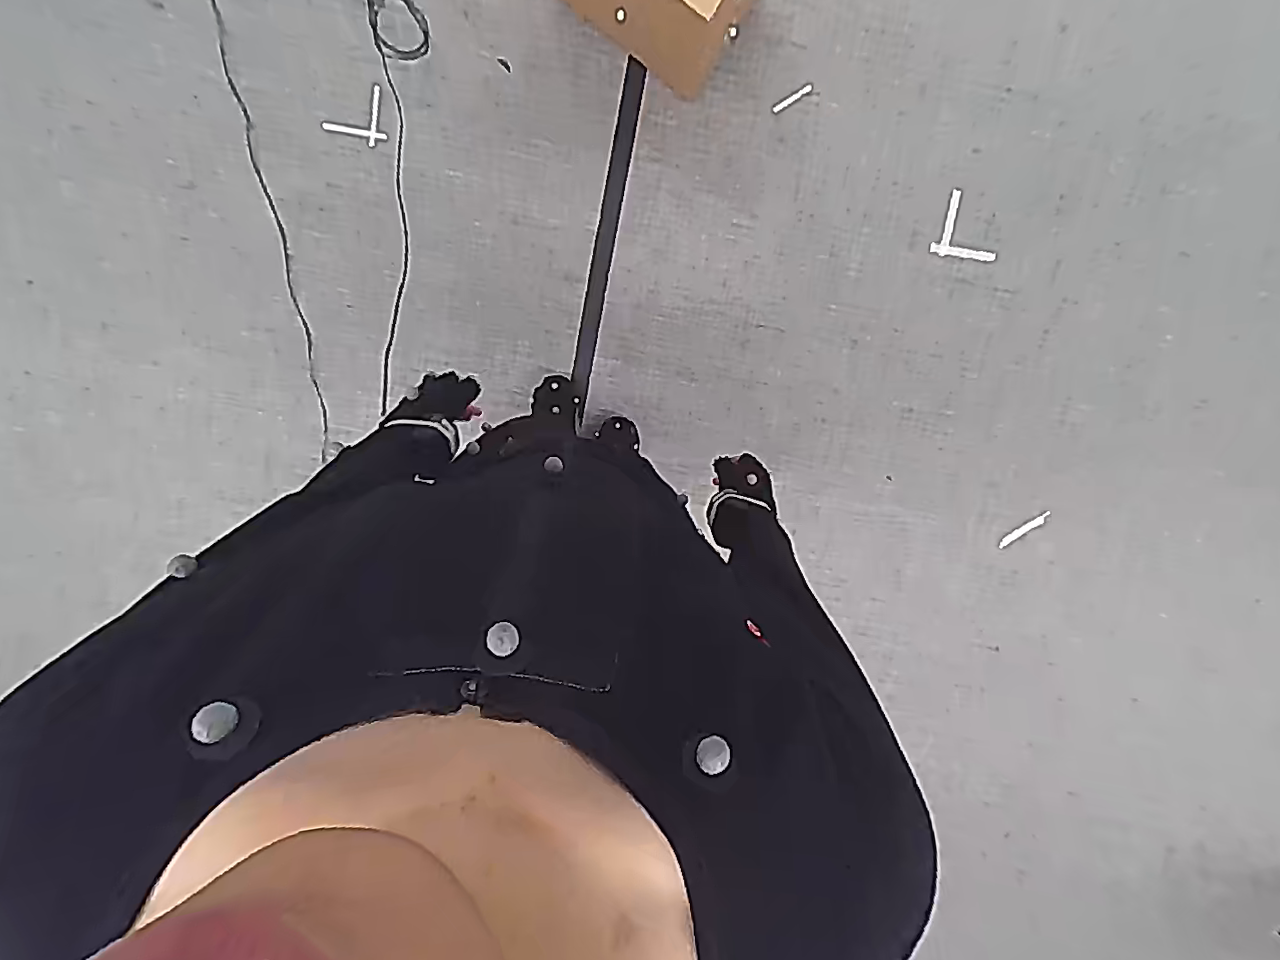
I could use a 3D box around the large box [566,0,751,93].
[{"bbox_3d":[0.050,-1.146,1.142,0.408,0.320,0.320,34,97,-7],"label":"large box"}]
